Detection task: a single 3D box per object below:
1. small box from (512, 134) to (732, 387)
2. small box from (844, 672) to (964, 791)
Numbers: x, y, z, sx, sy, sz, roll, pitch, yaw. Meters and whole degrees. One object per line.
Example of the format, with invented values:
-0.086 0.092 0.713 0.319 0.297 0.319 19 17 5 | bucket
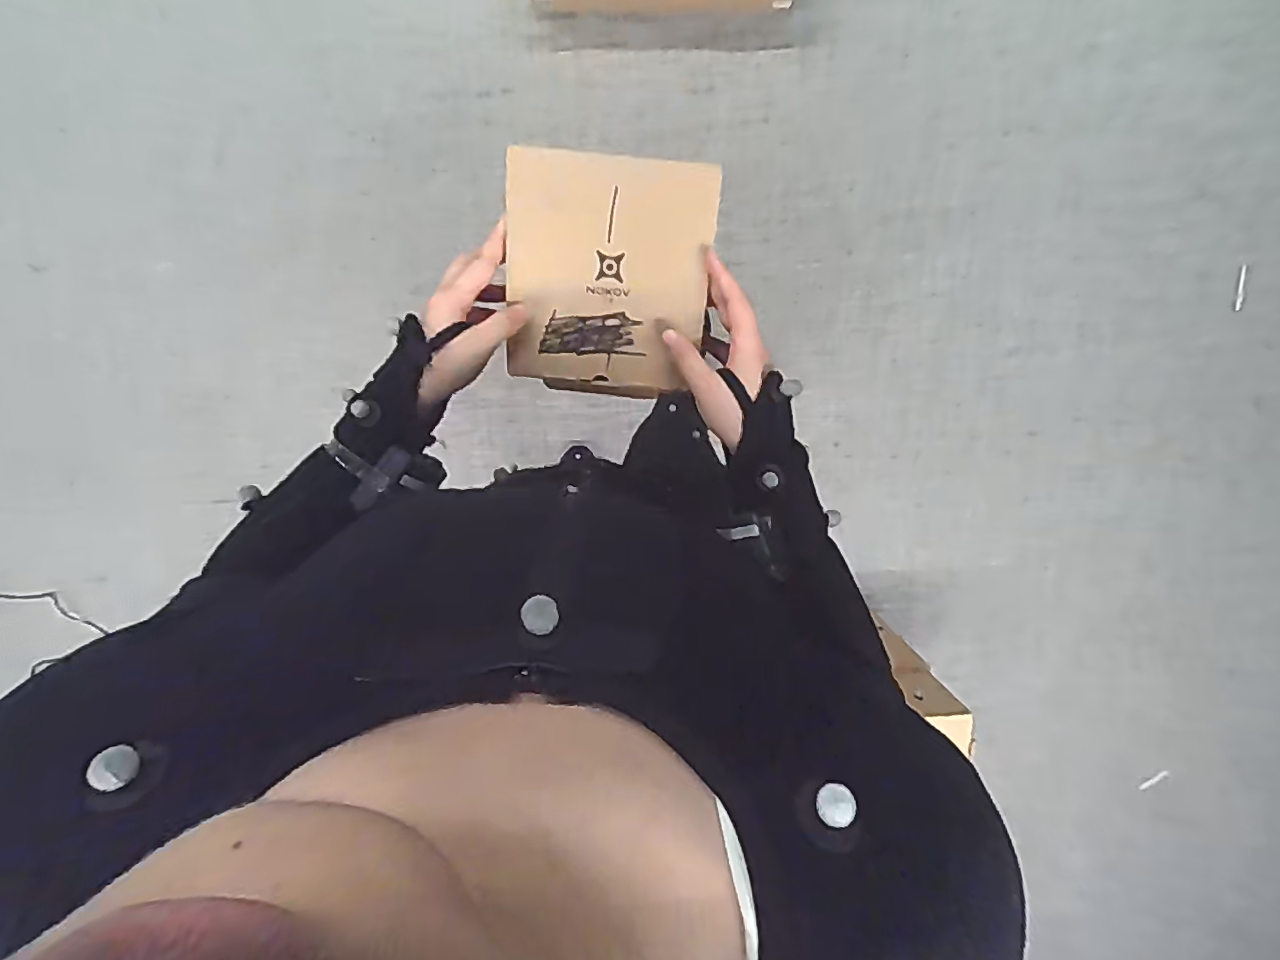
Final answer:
-0.019 -0.200 0.507 0.168 0.176 0.179 5 113 -3 | small box
0.556 0.529 1.157 0.179 0.176 0.168 -4 99 0 | small box
